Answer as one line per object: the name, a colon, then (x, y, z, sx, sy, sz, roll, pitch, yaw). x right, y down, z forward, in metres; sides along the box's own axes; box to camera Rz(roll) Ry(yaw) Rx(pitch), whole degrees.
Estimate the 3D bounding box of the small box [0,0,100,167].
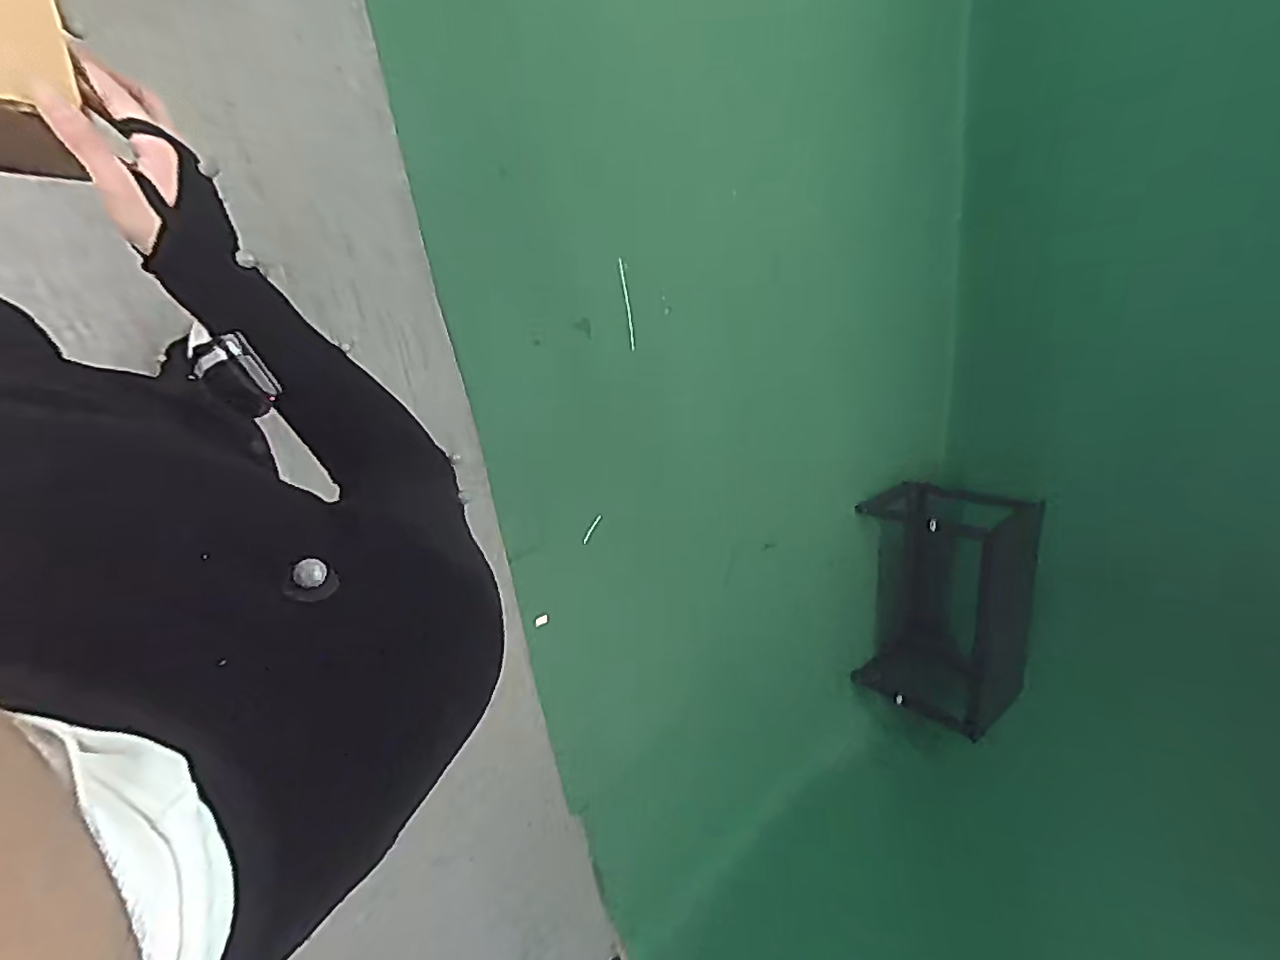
small box: (-0.513, -0.340, 0.372, 0.168, 0.176, 0.179, -15, 107, -38)
